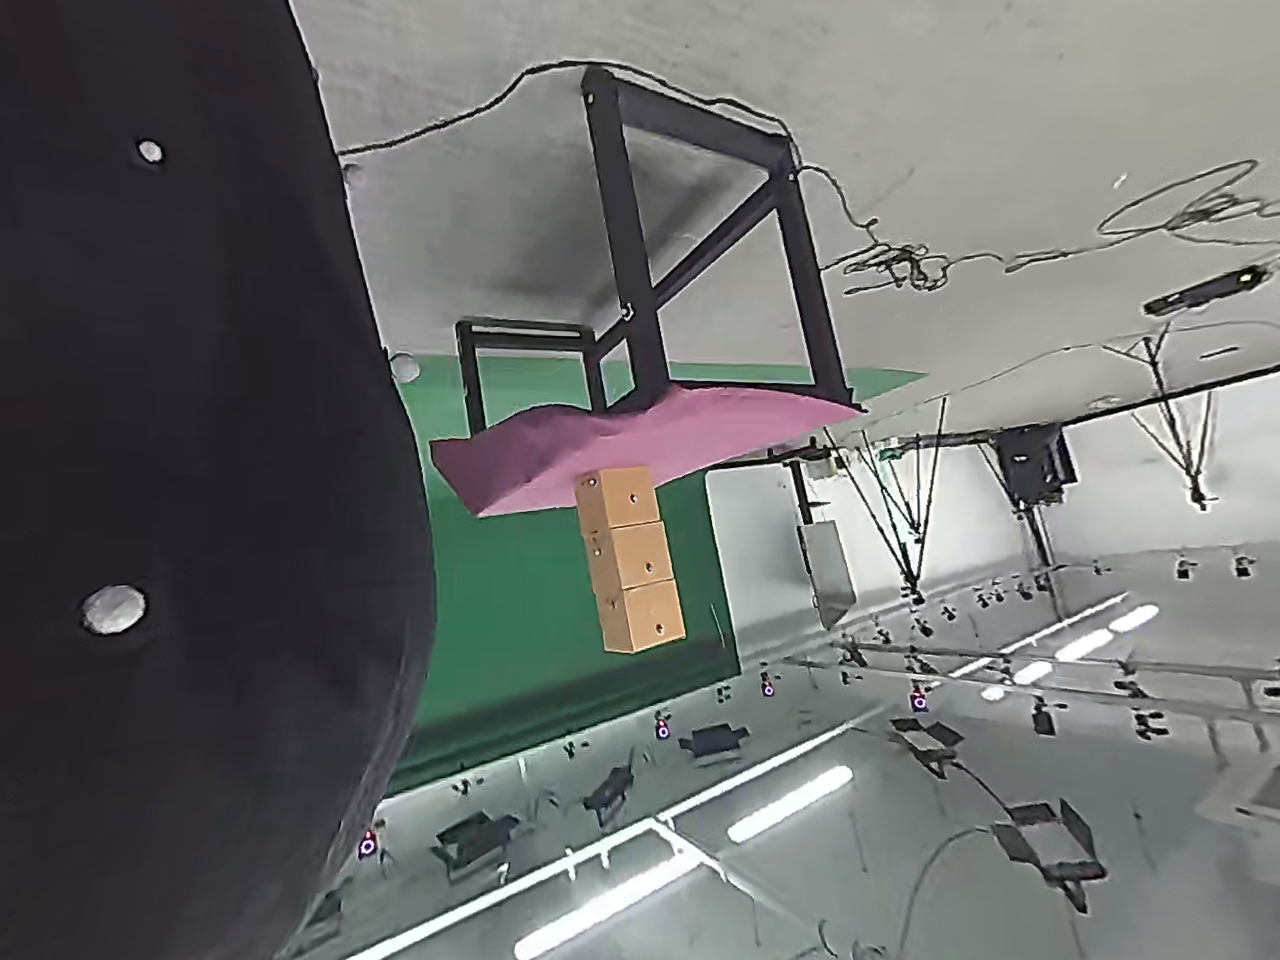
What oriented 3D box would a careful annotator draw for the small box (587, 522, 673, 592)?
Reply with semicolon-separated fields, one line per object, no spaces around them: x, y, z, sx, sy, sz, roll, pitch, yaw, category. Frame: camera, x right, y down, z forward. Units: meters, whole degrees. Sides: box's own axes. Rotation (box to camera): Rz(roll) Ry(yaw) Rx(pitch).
-0.032;0.217;1.543;0.179;0.176;0.168;-5;170;-33;small box

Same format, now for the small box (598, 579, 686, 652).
0.001;0.376;1.524;0.179;0.176;0.168;-5;170;-33;small box

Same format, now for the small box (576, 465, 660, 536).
-0.069;0.058;1.563;0.179;0.176;0.168;-6;171;-34;small box
